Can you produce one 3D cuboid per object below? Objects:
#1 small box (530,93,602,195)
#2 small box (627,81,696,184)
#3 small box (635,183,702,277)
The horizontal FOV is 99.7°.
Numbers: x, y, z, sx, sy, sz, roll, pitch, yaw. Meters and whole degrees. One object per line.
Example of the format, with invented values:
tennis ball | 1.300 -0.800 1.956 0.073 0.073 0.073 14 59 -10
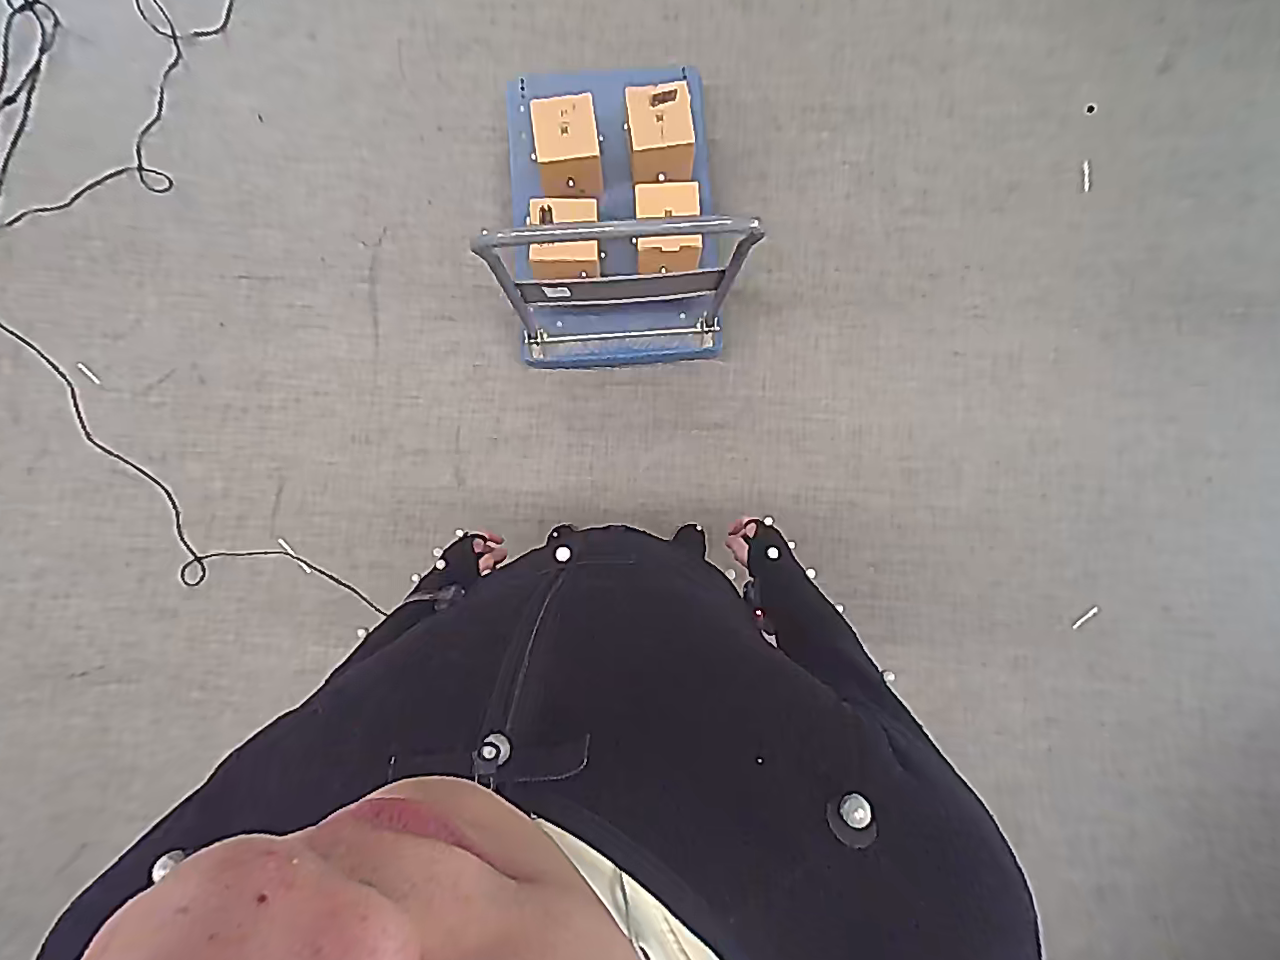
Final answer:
small box | -0.196 -0.905 1.475 0.168 0.176 0.179 -7 86 -2
small box | 0.053 -0.940 1.479 0.168 0.176 0.179 -7 87 0
small box | 0.072 -0.671 1.461 0.168 0.176 0.179 -3 86 -1
